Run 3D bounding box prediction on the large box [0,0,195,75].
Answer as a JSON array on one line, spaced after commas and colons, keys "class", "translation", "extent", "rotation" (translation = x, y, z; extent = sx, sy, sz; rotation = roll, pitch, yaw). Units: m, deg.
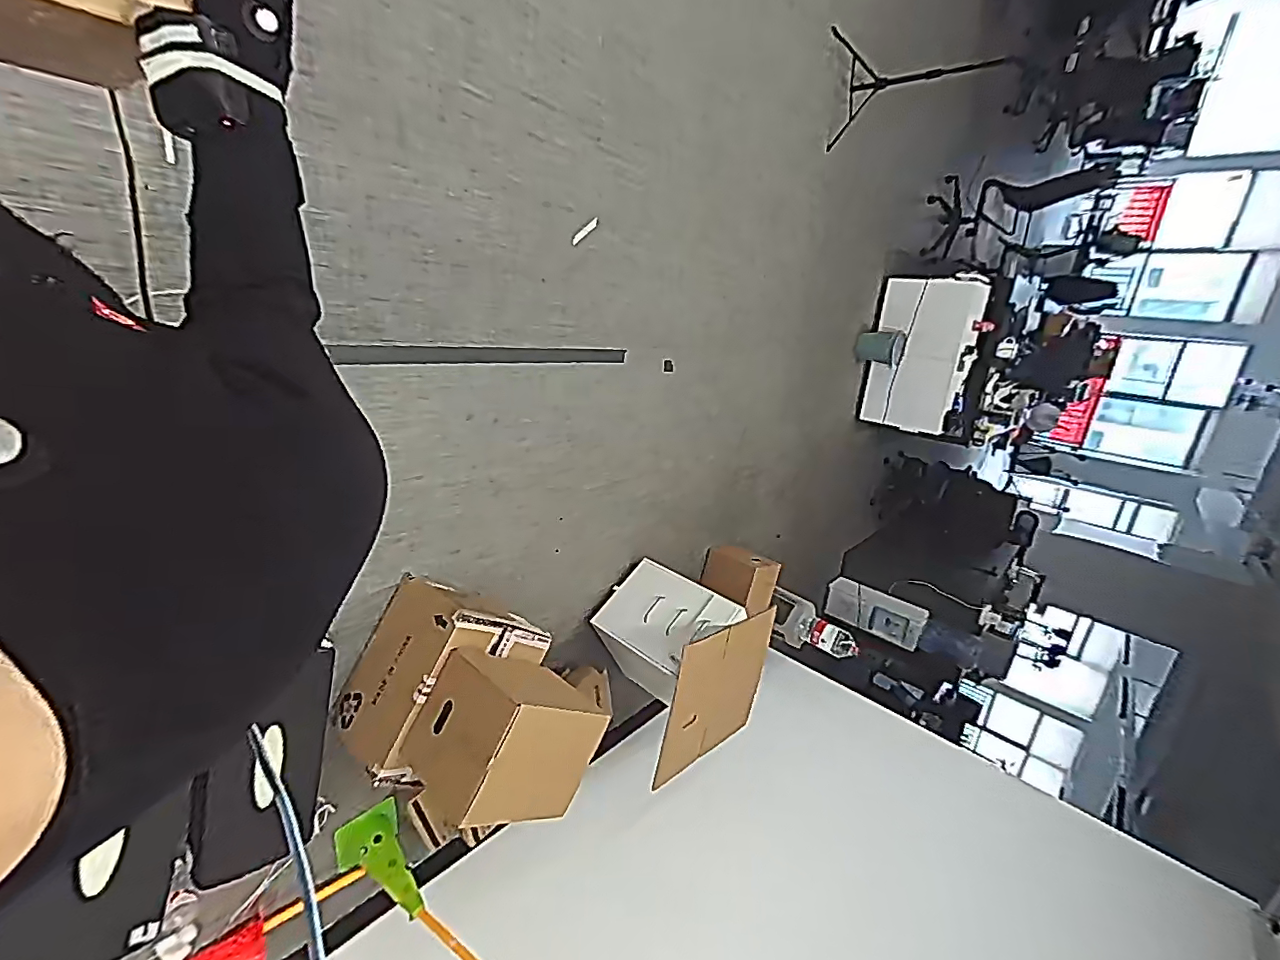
[{"class": "large box", "translation": [-0.550, -0.471, 0.282], "extent": [0.408, 0.320, 0.320], "rotation": [-18, 123, -48]}]
